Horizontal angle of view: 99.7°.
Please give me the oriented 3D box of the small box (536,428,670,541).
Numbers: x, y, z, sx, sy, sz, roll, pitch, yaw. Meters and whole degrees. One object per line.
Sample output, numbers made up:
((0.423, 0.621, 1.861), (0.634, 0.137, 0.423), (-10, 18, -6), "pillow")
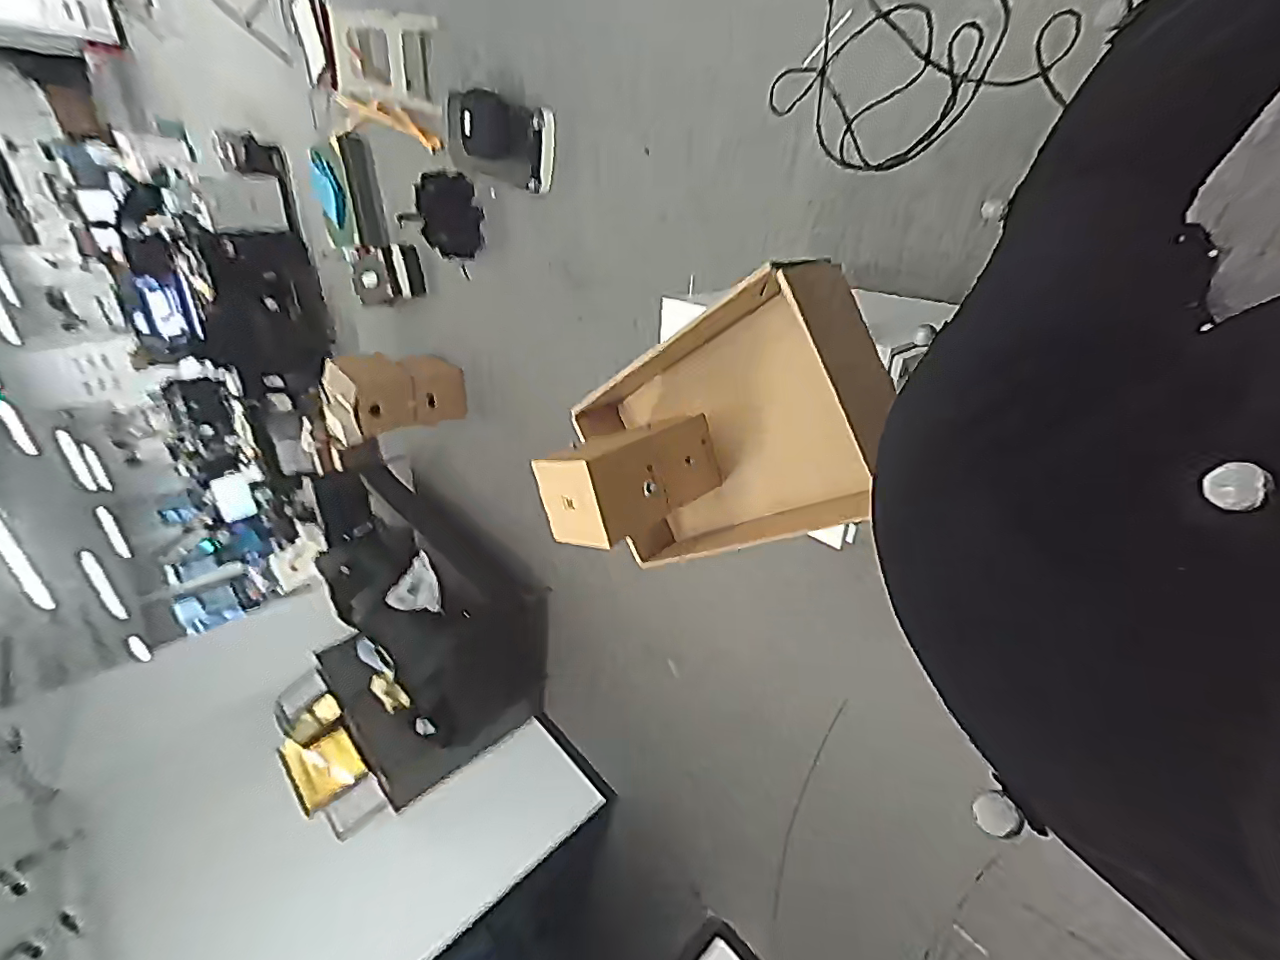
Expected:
((-0.069, 0.003, 1.049), (0.179, 0.176, 0.168), (1, 111, 47), "small box")
